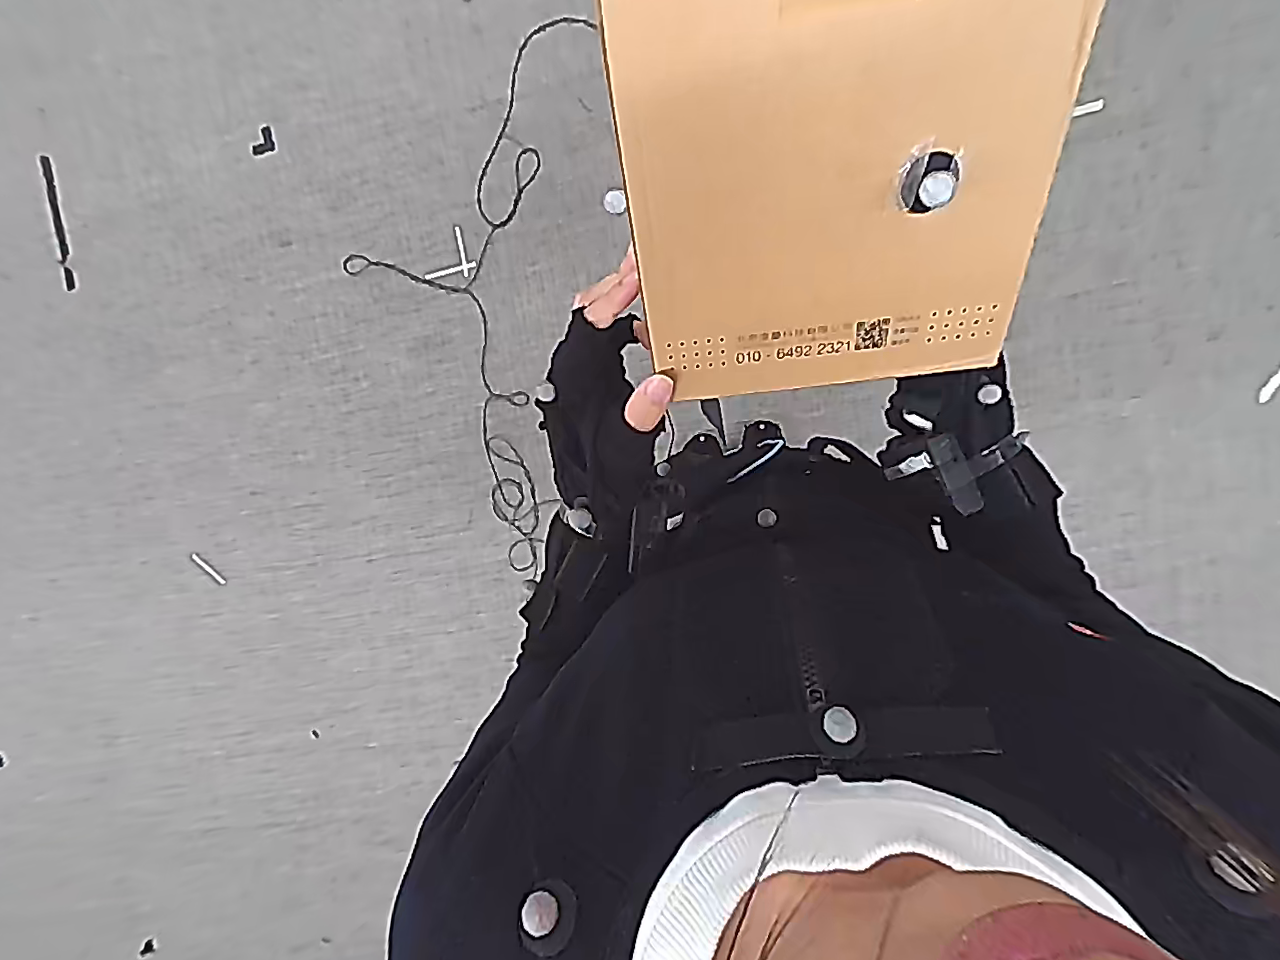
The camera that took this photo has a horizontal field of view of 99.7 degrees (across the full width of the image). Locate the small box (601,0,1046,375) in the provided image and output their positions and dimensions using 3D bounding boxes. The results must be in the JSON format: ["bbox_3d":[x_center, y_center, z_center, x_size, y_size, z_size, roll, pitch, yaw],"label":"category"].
[{"bbox_3d":[0.083,-0.169,0.301,0.168,0.179,0.176,-4,130,8],"label":"small box"}]
